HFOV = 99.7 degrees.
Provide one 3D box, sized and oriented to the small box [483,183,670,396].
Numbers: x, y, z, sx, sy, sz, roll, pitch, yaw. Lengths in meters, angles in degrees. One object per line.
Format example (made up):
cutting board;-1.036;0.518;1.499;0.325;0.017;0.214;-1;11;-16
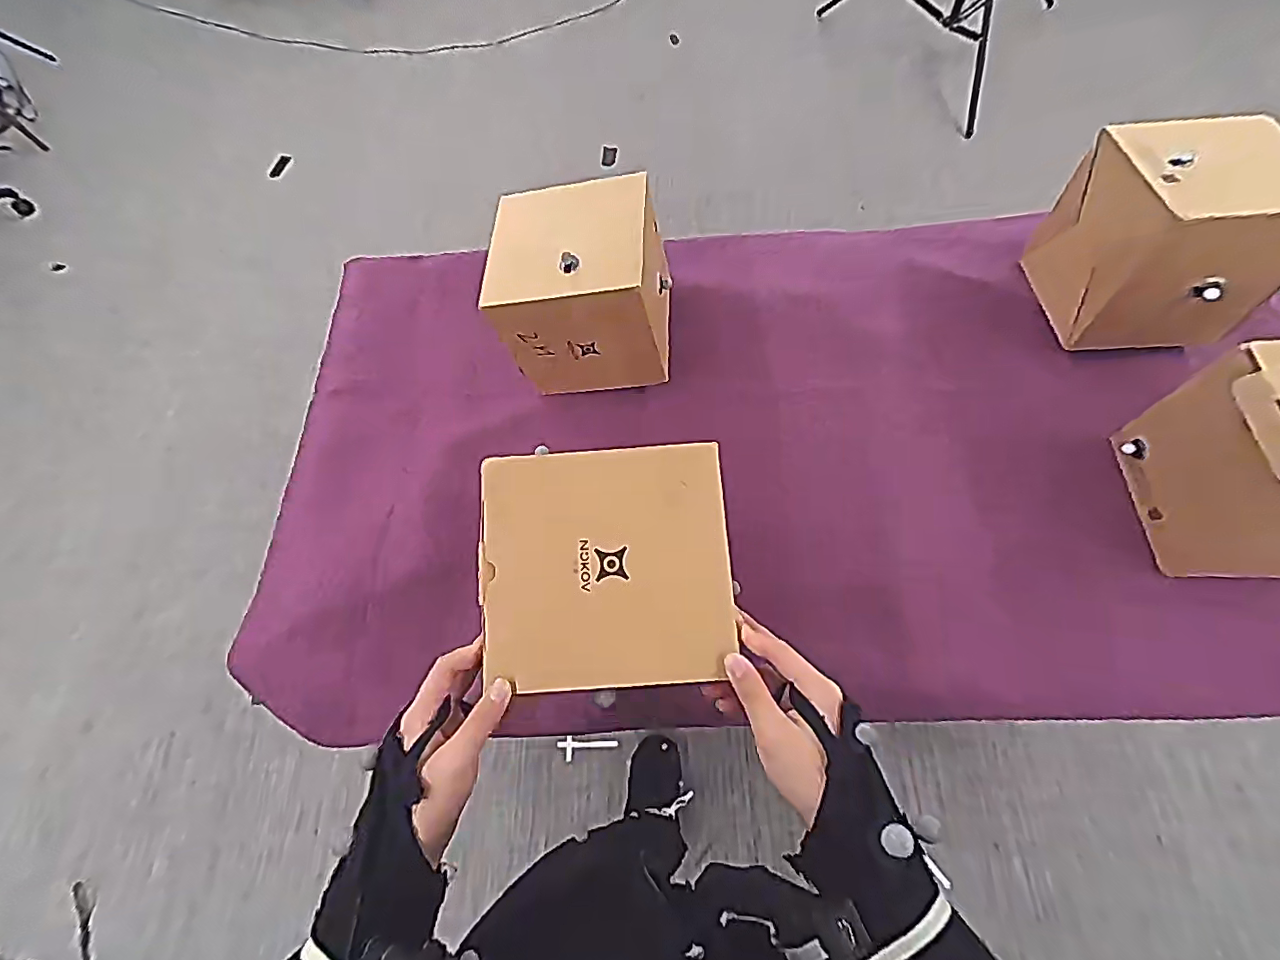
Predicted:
small box;-0.062;-0.221;0.642;0.179;0.168;0.176;-3;64;11

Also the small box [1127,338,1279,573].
small box;0.612;-0.014;0.502;0.179;0.176;0.168;0;64;5

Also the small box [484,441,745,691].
small box;-0.020;0.073;0.453;0.179;0.176;0.168;-5;77;1
